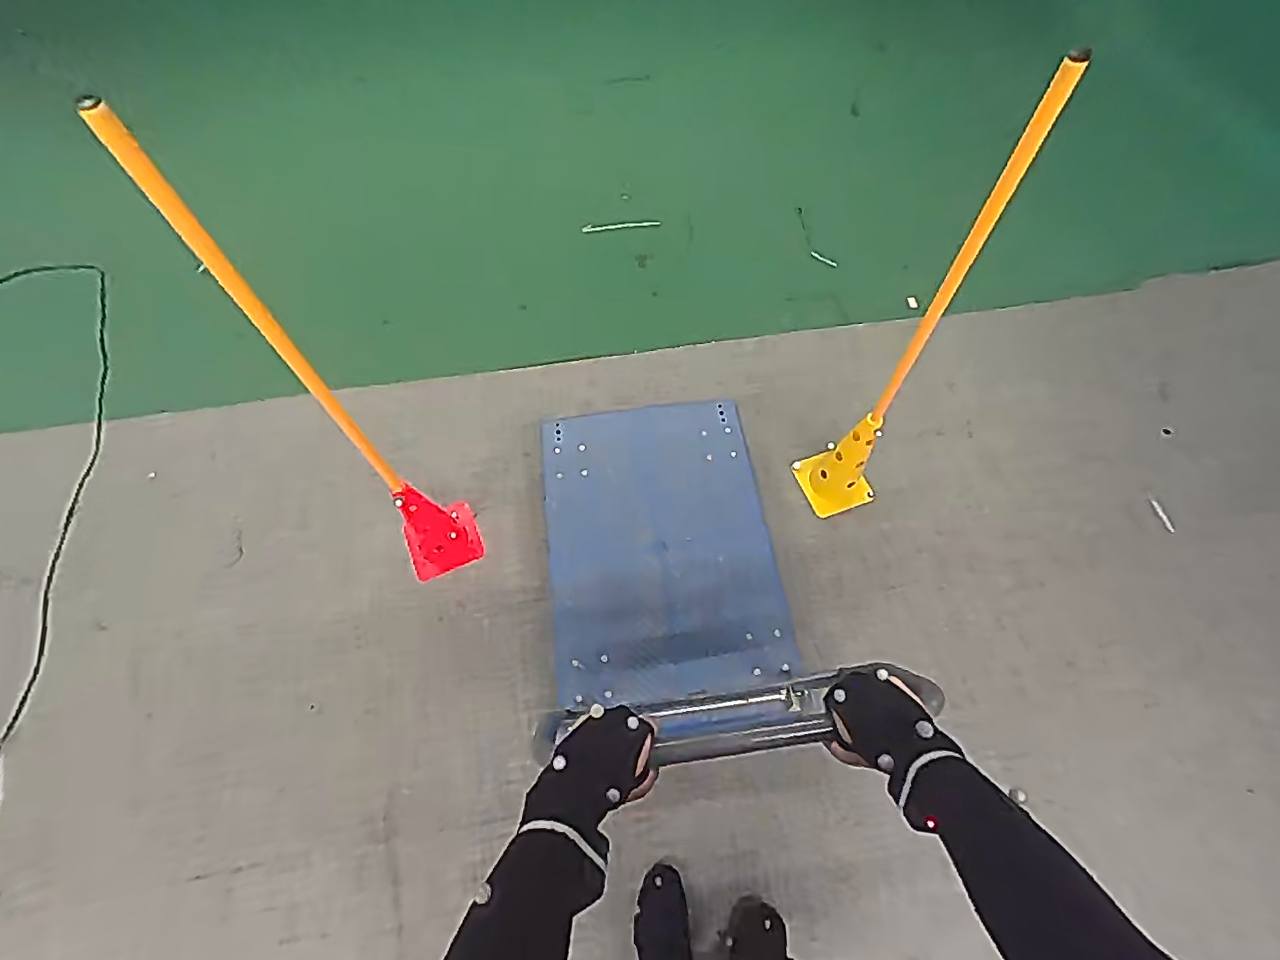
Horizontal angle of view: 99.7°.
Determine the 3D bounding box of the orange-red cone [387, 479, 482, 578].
[{"bbox_3d":[-0.573,0.094,1.418,0.199,0.360,0.198,-22,65,-10],"label":"orange-red cone"}]
